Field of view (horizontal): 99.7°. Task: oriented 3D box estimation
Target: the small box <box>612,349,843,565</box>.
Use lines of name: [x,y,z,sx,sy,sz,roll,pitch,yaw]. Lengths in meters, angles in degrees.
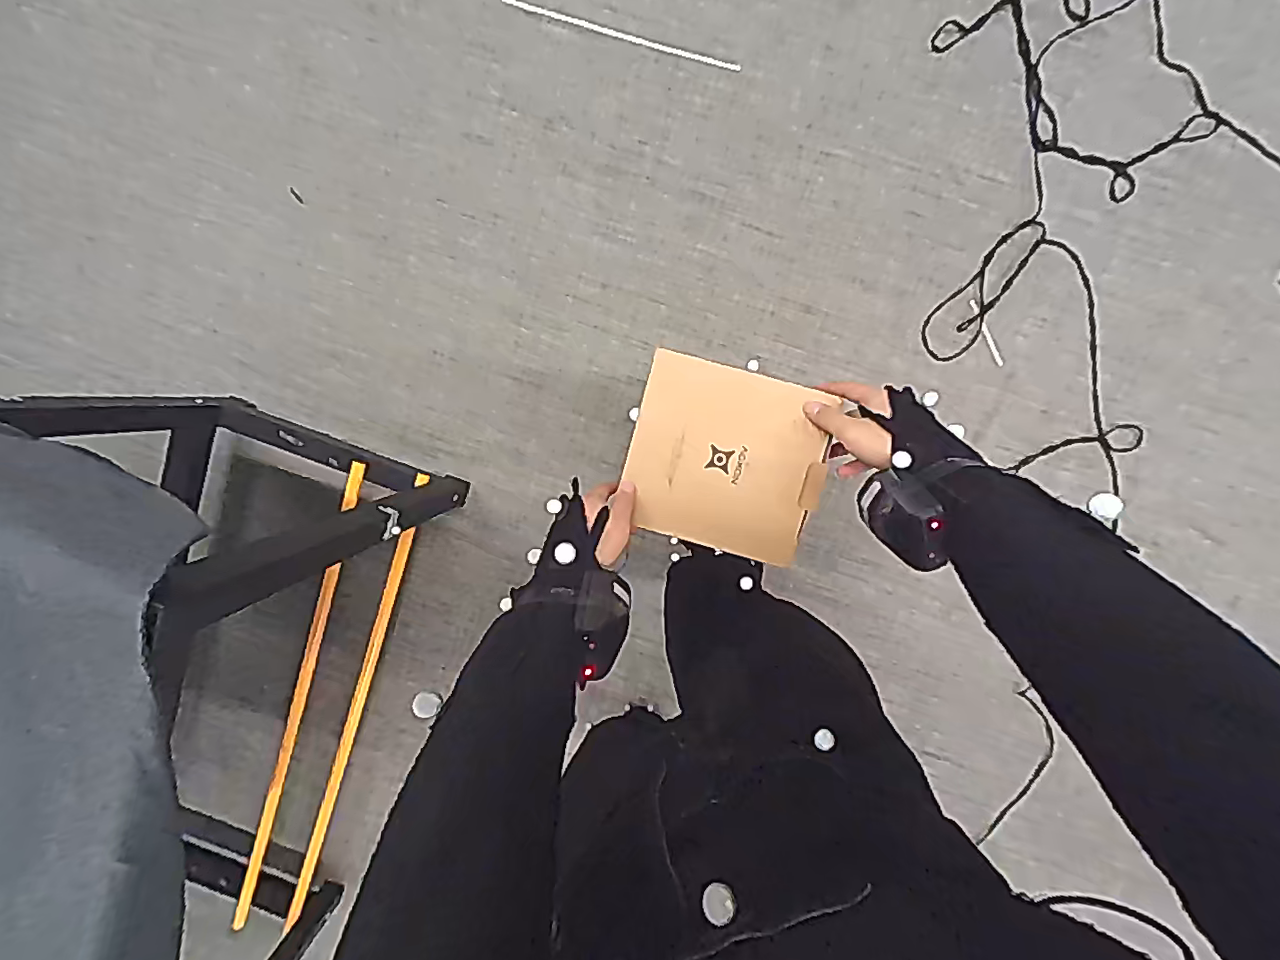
small box: [0.083,-0.030,0.574,0.179,0.176,0.168,16,98,3]
